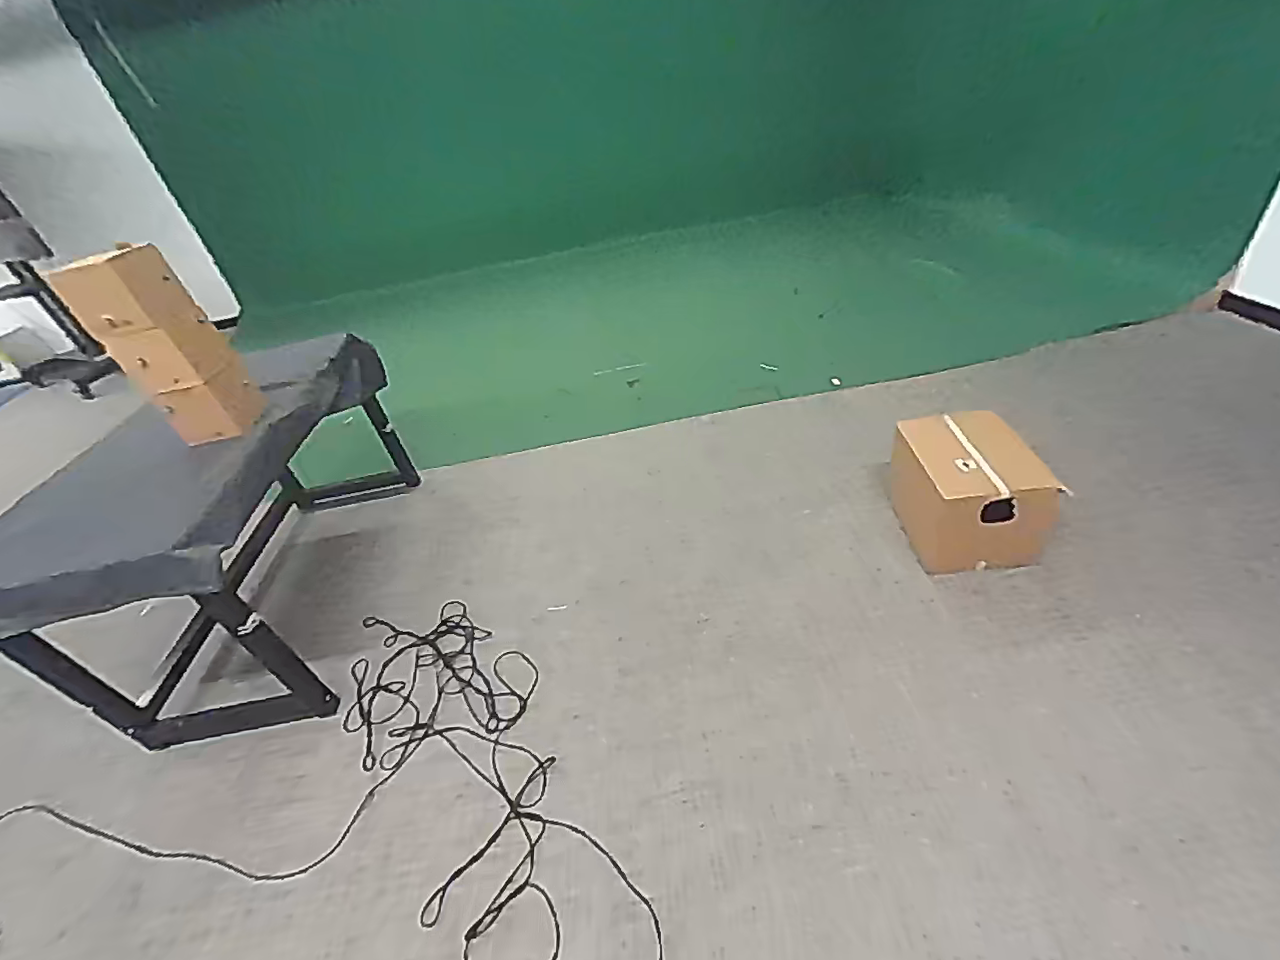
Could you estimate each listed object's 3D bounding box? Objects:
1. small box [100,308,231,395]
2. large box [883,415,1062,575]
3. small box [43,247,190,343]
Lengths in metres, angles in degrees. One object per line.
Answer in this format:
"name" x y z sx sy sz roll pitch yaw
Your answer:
"small box" -1.264 -0.340 1.460 0.168 0.176 0.179 -11 37 2
"large box" 1.012 0.041 1.717 0.320 0.320 0.408 -7 39 7
"small box" -1.296 -0.465 1.362 0.168 0.176 0.179 -12 37 3
